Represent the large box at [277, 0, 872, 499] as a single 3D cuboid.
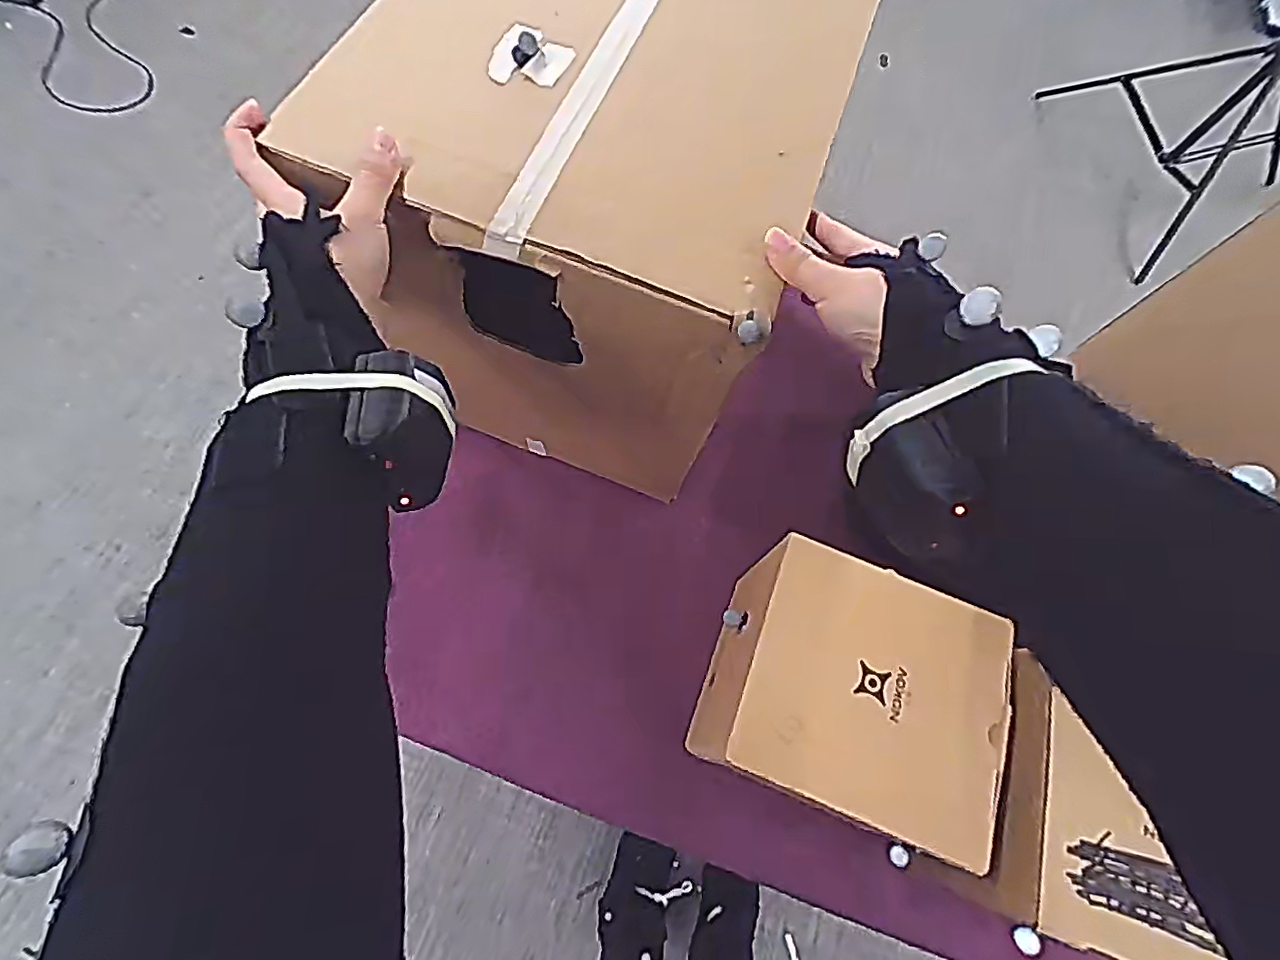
[{"bbox_3d":[-0.025,-0.249,0.520,0.320,0.320,0.408,20,70,2],"label":"large box"}]
